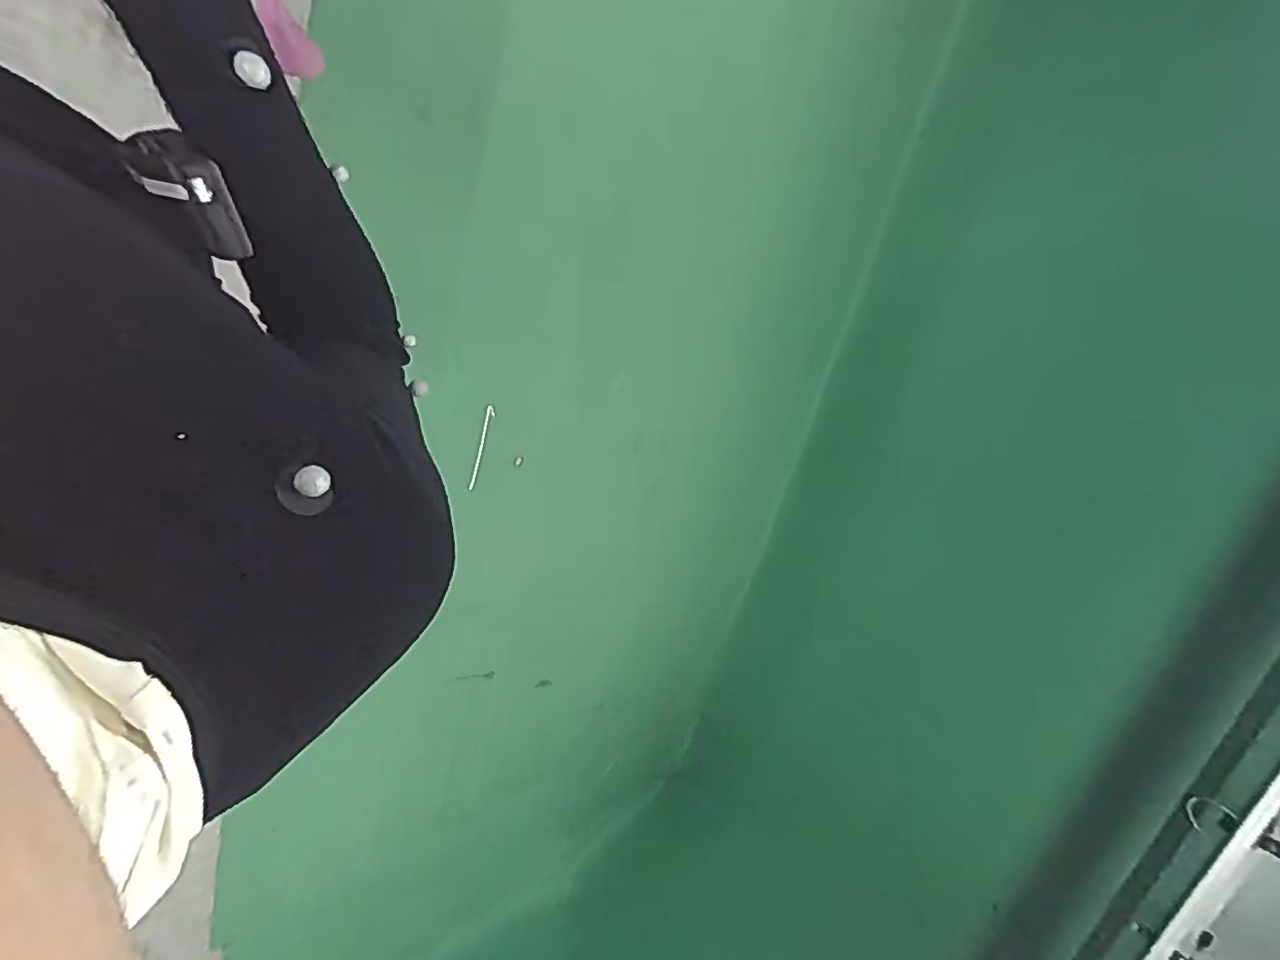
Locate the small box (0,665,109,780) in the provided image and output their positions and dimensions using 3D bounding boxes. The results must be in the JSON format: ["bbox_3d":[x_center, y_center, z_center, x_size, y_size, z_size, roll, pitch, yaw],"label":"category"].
[{"bbox_3d":[-1.407,0.562,1.261,0.168,0.176,0.179,-51,140,-13],"label":"small box"}]
